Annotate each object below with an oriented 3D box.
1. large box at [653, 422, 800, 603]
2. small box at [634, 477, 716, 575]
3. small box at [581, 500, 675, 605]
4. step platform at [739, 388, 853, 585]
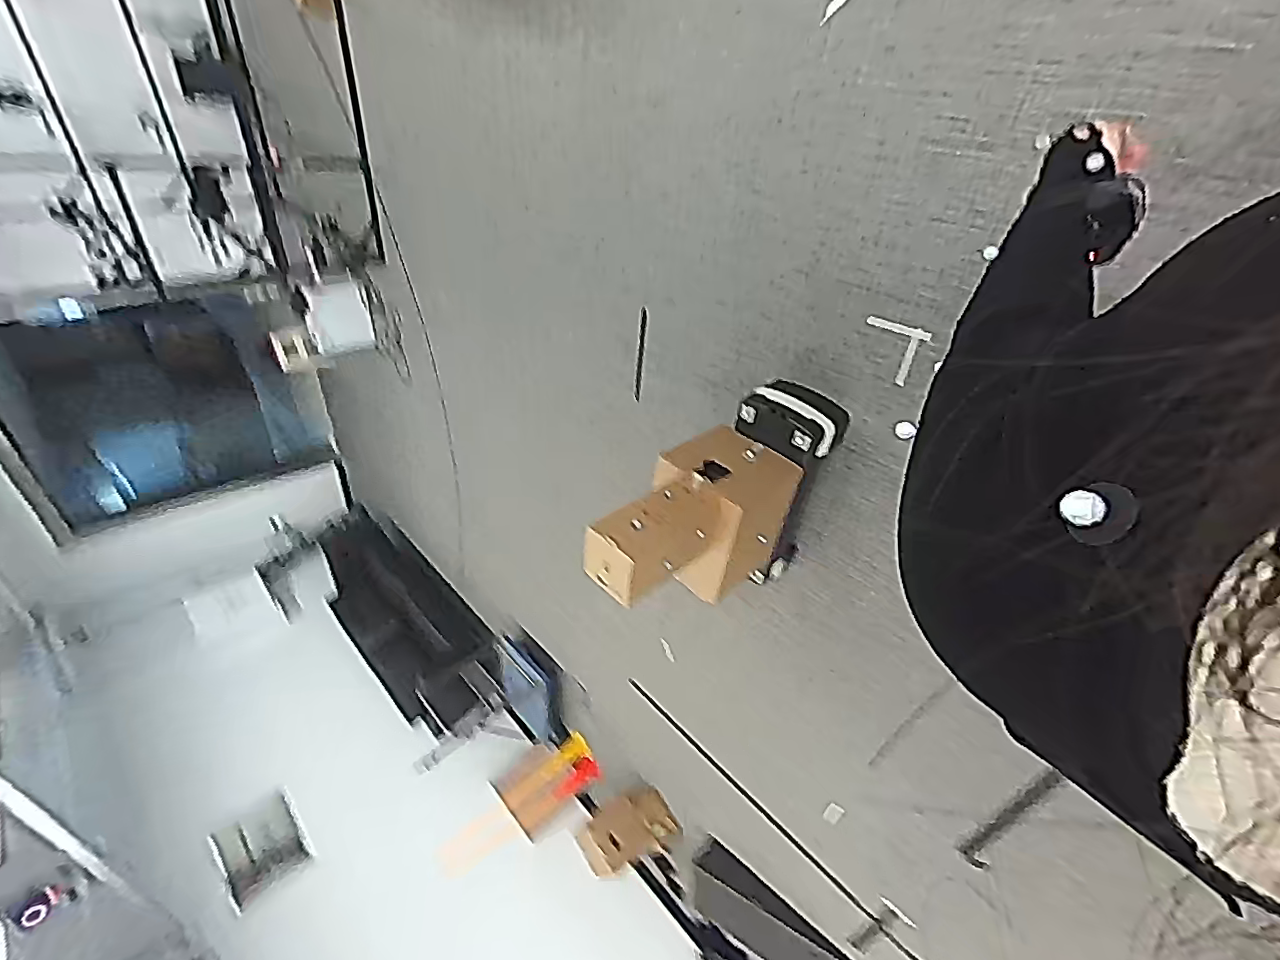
[{"bbox_3d":[0.245,0.090,1.687,0.320,0.320,0.408,37,136,32],"label":"large box"},{"bbox_3d":[0.088,0.118,1.486,0.168,0.176,0.179,36,135,31],"label":"small box"},{"bbox_3d":[-0.031,0.178,1.389,0.168,0.176,0.179,36,134,32],"label":"small box"},{"bbox_3d":[0.429,0.043,1.835,0.286,0.204,0.684,40,137,28],"label":"step platform"}]
